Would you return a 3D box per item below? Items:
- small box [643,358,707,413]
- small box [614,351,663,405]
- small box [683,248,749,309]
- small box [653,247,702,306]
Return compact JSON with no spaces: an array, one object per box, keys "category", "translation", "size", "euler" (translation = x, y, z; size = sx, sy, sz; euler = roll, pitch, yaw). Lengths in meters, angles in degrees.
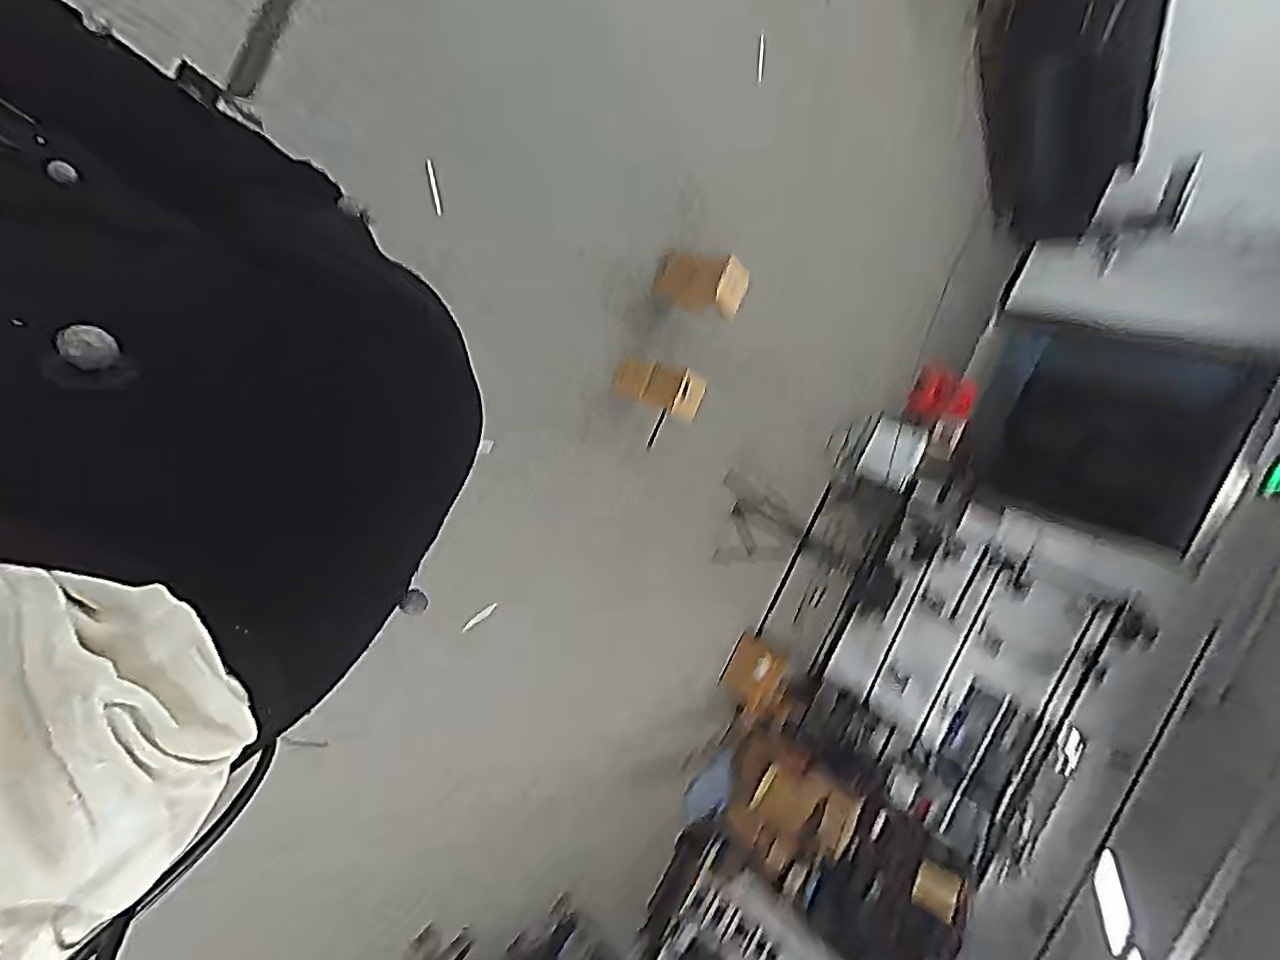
[{"category":"small box","translation":[0.142,-0.392,2.222],"size":[0.179,0.176,0.168],"euler":[16,98,-53]},{"category":"small box","translation":[0.017,-0.440,2.318],"size":[0.179,0.176,0.168],"euler":[15,98,-53]},{"category":"small box","translation":[0.303,-0.813,2.169],"size":[0.179,0.176,0.168],"euler":[23,91,-52]},{"category":"small box","translation":[0.186,-0.862,2.273],"size":[0.179,0.176,0.168],"euler":[24,91,-53]}]
